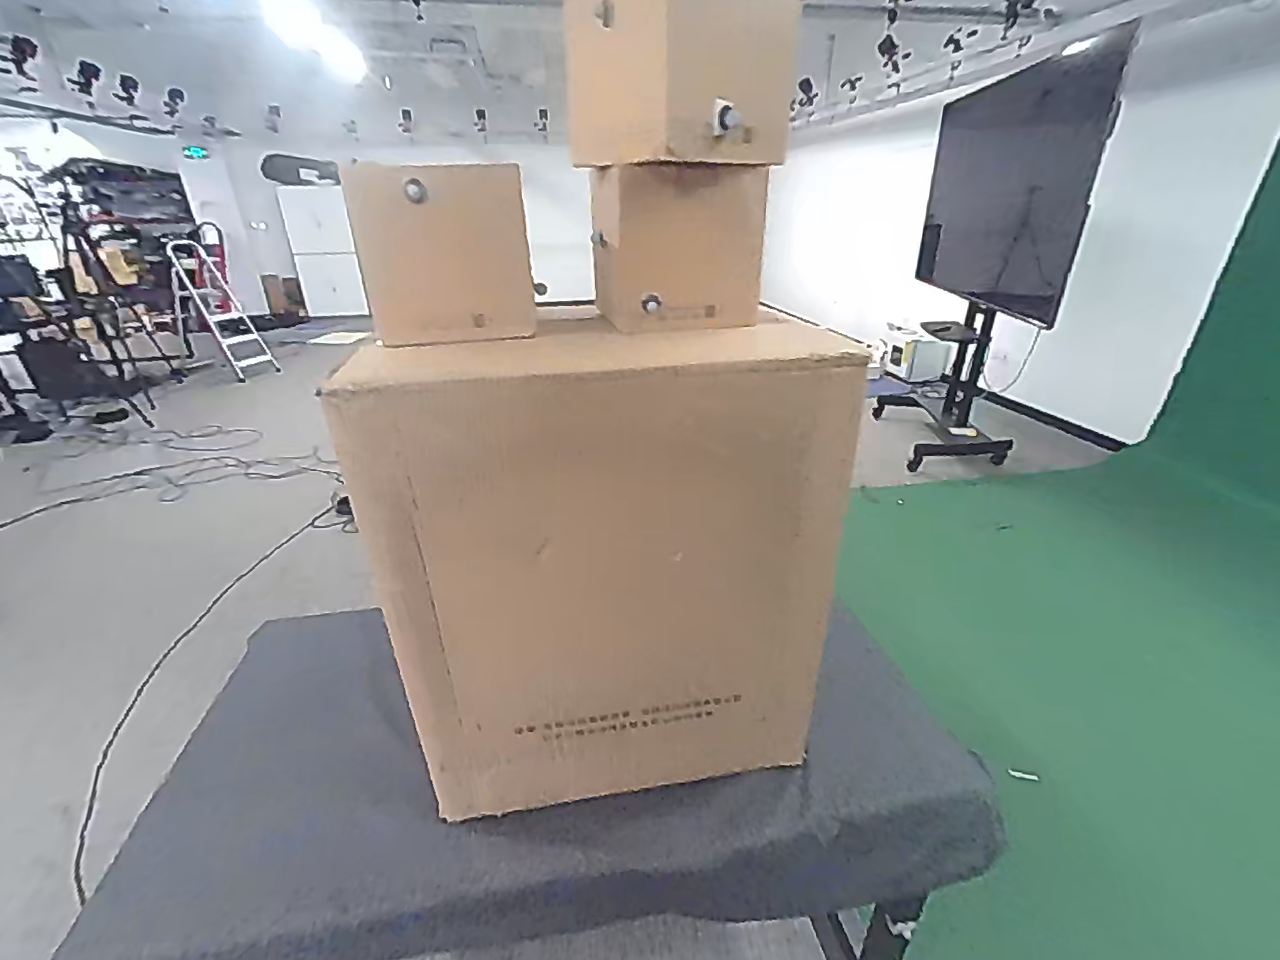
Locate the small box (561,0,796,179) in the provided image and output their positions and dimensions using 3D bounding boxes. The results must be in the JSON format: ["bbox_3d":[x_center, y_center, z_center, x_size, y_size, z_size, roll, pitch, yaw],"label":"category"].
[{"bbox_3d":[0.035,-0.409,0.561,0.168,0.176,0.179,-21,35,-30],"label":"small box"}]

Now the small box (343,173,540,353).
[{"bbox_3d":[-0.209,-0.249,0.623,0.168,0.176,0.179,-8,27,-8],"label":"small box"}]

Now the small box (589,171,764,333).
[{"bbox_3d":[0.036,-0.278,0.659,0.168,0.176,0.179,-8,28,-12],"label":"small box"}]
